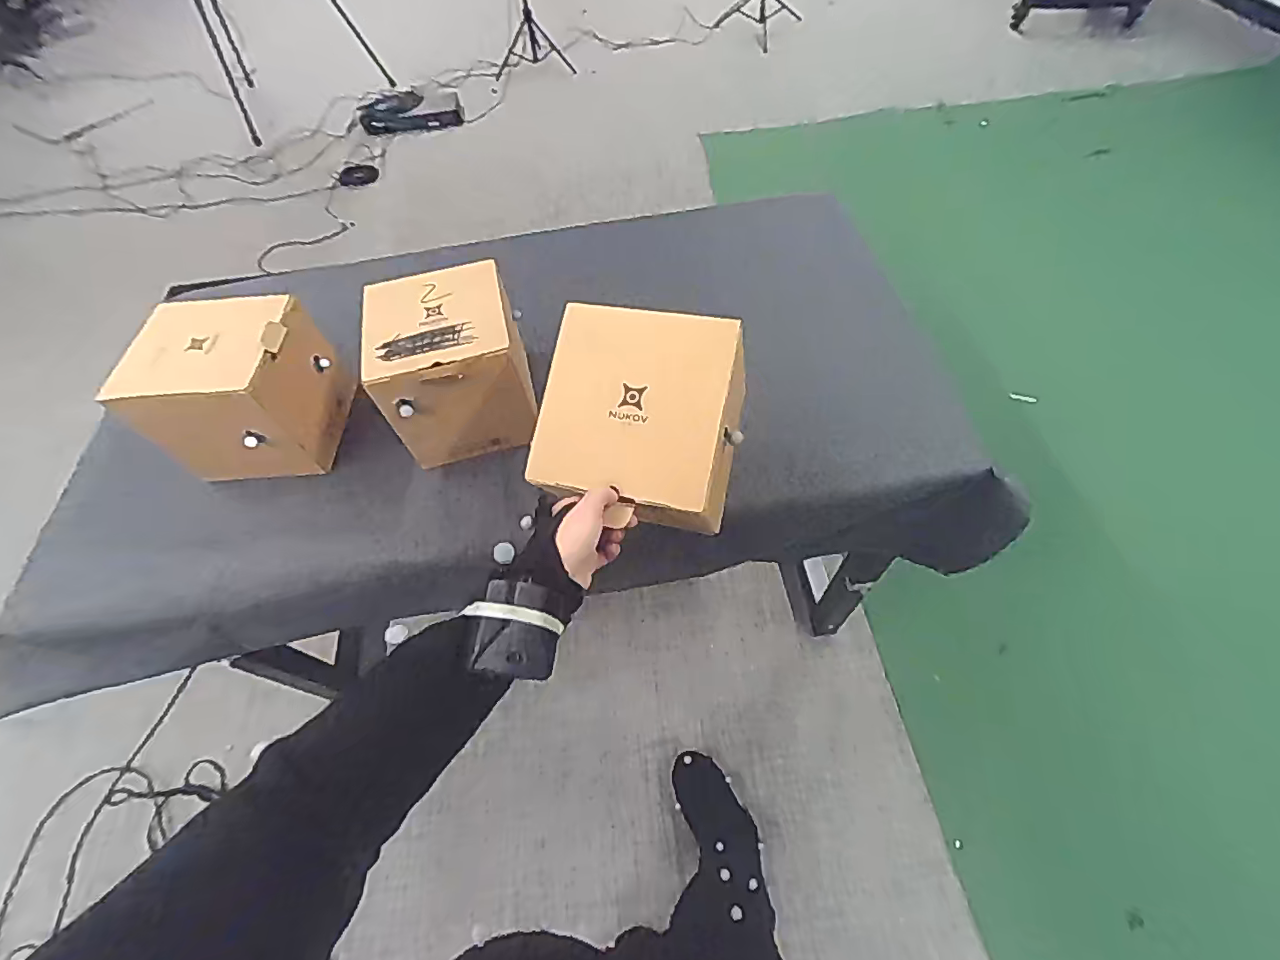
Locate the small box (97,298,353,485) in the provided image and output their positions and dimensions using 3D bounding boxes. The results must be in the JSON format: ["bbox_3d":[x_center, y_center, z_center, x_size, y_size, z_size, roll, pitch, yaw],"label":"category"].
[{"bbox_3d":[-0.508,-0.109,0.700,0.179,0.176,0.168,-5,56,2],"label":"small box"}]

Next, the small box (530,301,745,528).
[{"bbox_3d":[0.010,-0.057,0.557,0.168,0.176,0.179,10,82,12],"label":"small box"}]
